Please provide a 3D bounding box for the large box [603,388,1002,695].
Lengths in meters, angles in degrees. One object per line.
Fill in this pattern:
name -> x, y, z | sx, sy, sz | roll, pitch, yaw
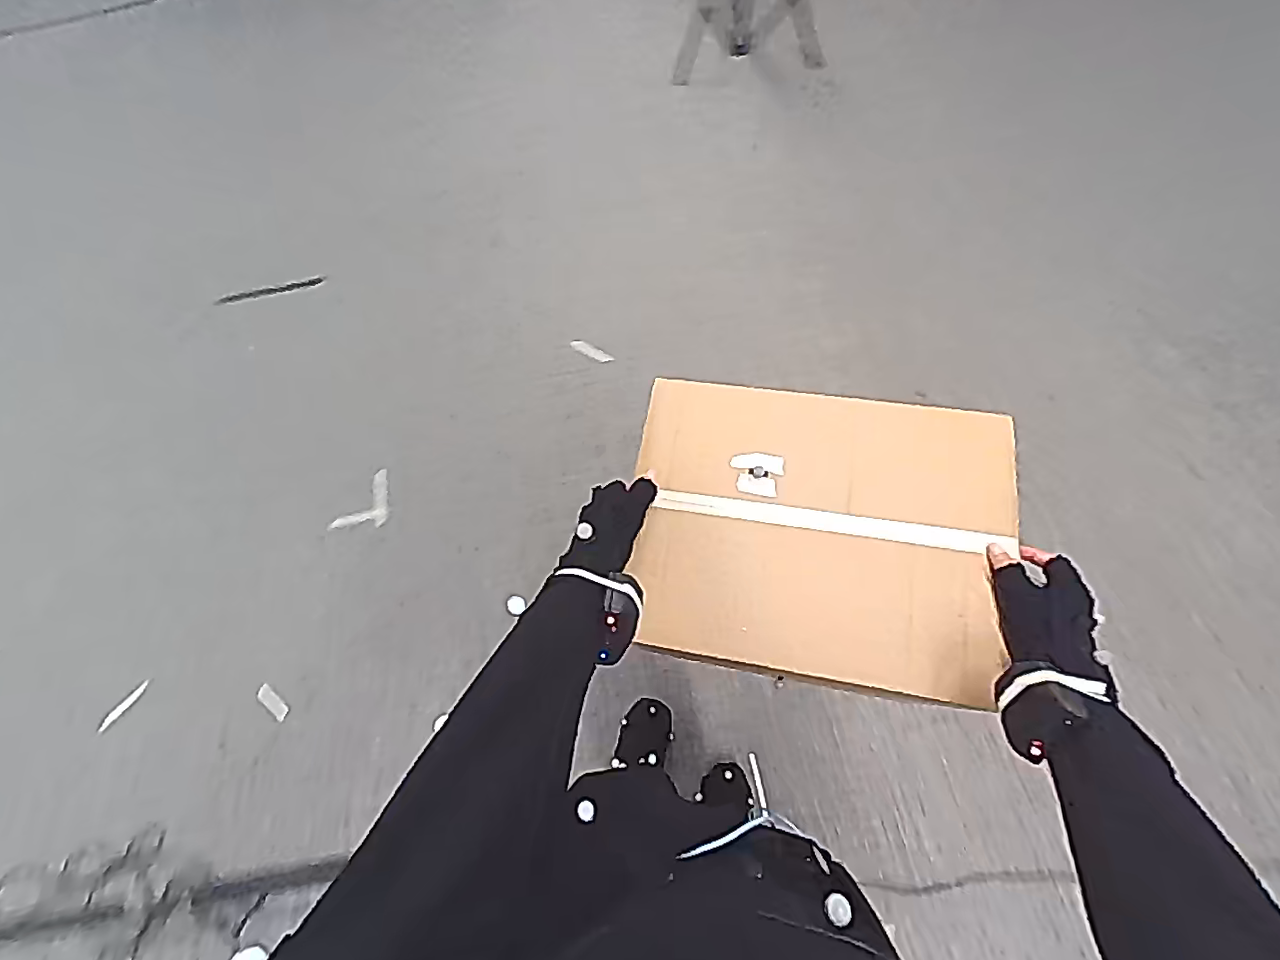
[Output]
large box -> 0.197, 0.094, 0.735 | 0.408, 0.320, 0.320 | 6, 71, 11
